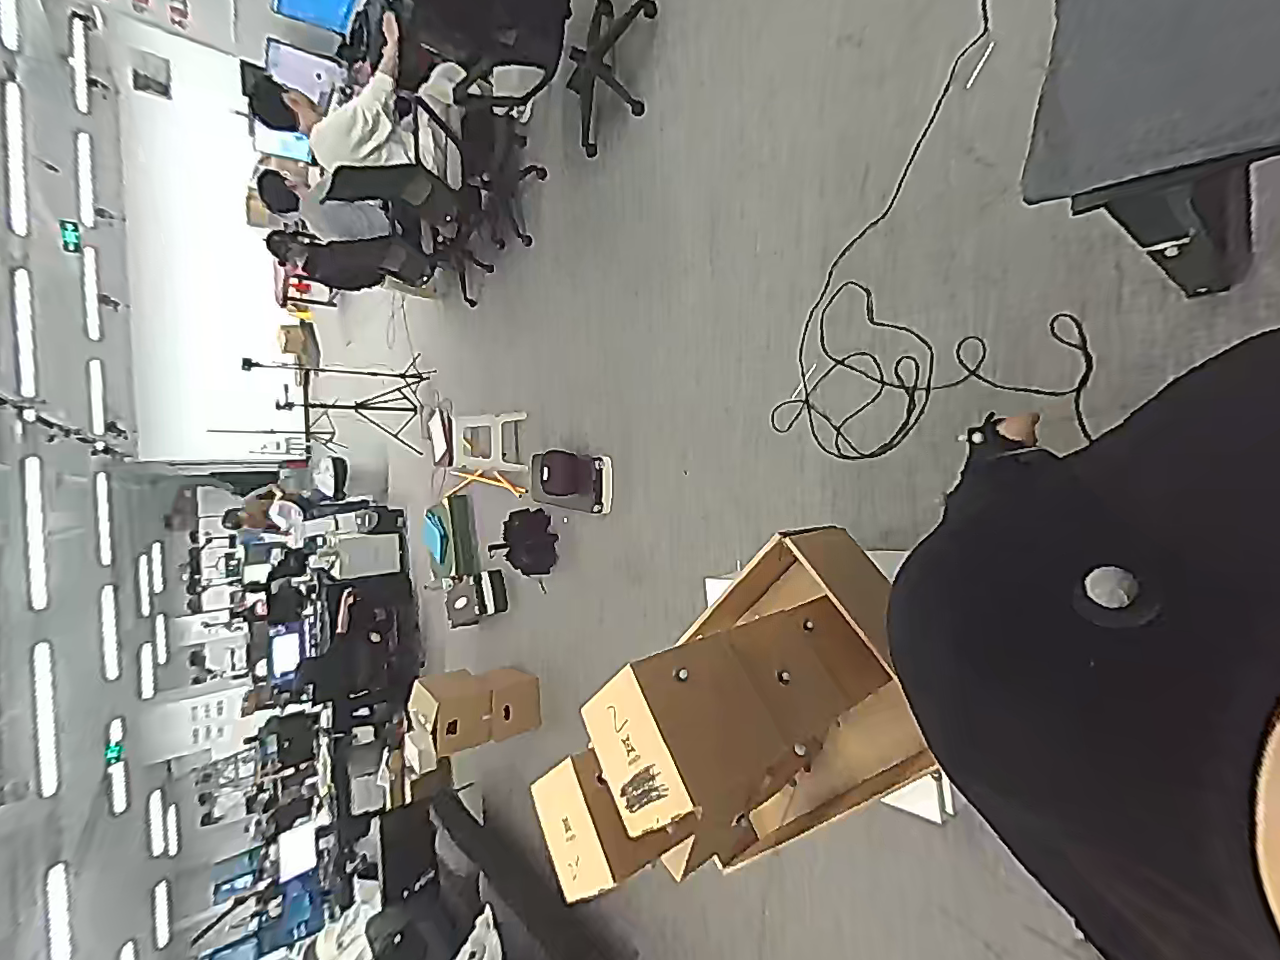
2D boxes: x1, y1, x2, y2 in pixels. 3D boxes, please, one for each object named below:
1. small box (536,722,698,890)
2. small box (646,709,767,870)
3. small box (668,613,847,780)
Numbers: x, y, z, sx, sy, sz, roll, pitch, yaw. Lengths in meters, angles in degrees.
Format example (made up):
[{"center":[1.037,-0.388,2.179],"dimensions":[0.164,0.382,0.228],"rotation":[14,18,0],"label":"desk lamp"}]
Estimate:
[{"center":[-0.039,0.518,0.881],"dimensions":[0.168,0.176,0.179],"rotation":[-52,55,39],"label":"small box"},{"center":[0.096,0.537,0.978],"dimensions":[0.179,0.176,0.168],"rotation":[30,116,43],"label":"small box"},{"center":[0.181,0.328,0.851],"dimensions":[0.179,0.176,0.168],"rotation":[58,135,29],"label":"small box"}]
